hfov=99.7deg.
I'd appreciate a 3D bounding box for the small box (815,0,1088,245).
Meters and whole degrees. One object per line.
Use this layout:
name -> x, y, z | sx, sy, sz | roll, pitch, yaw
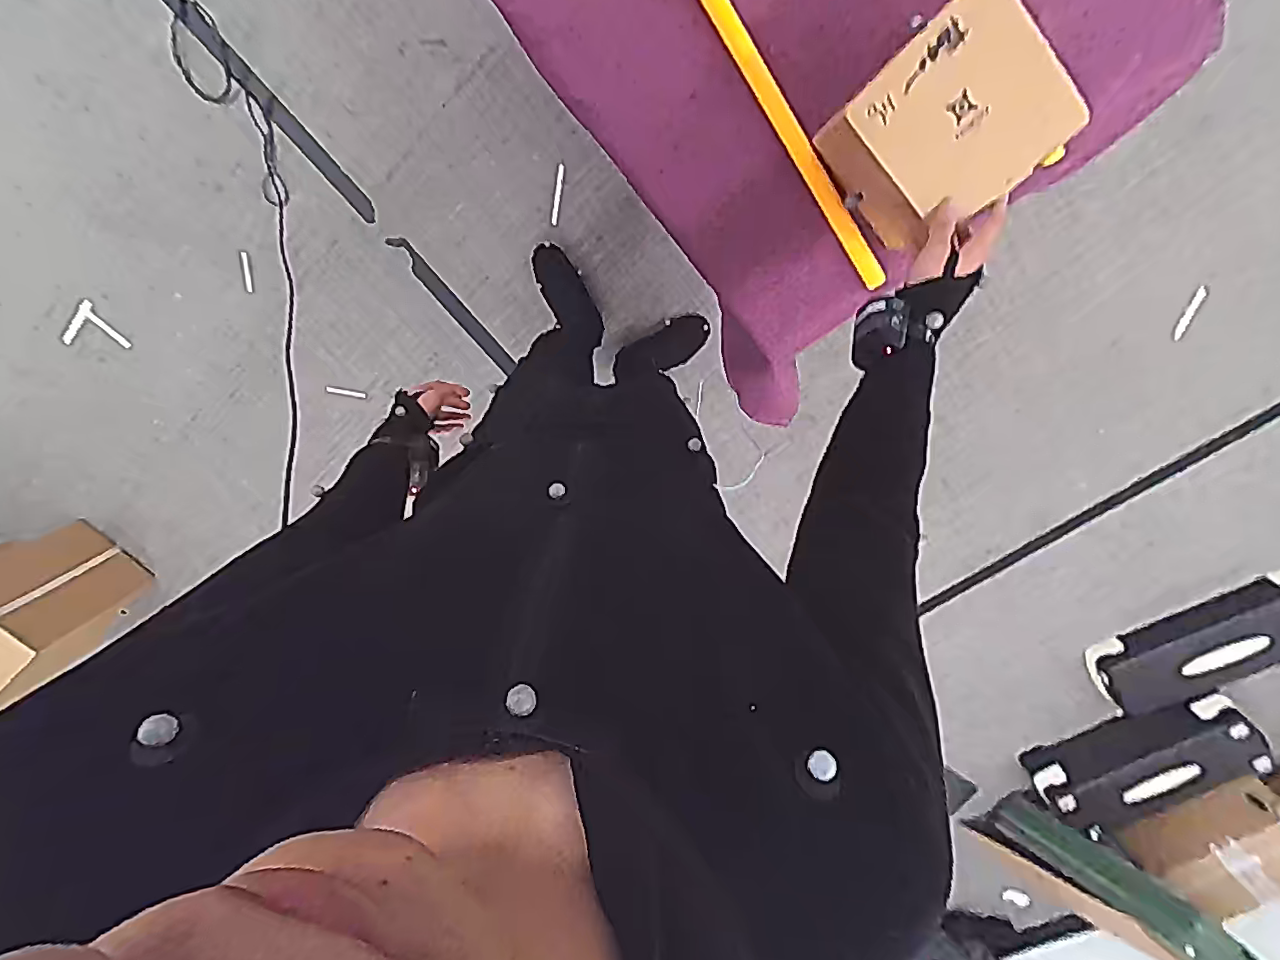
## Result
small box -> 0.324, -0.390, 0.600 | 0.168, 0.176, 0.179 | -41, 105, 19
